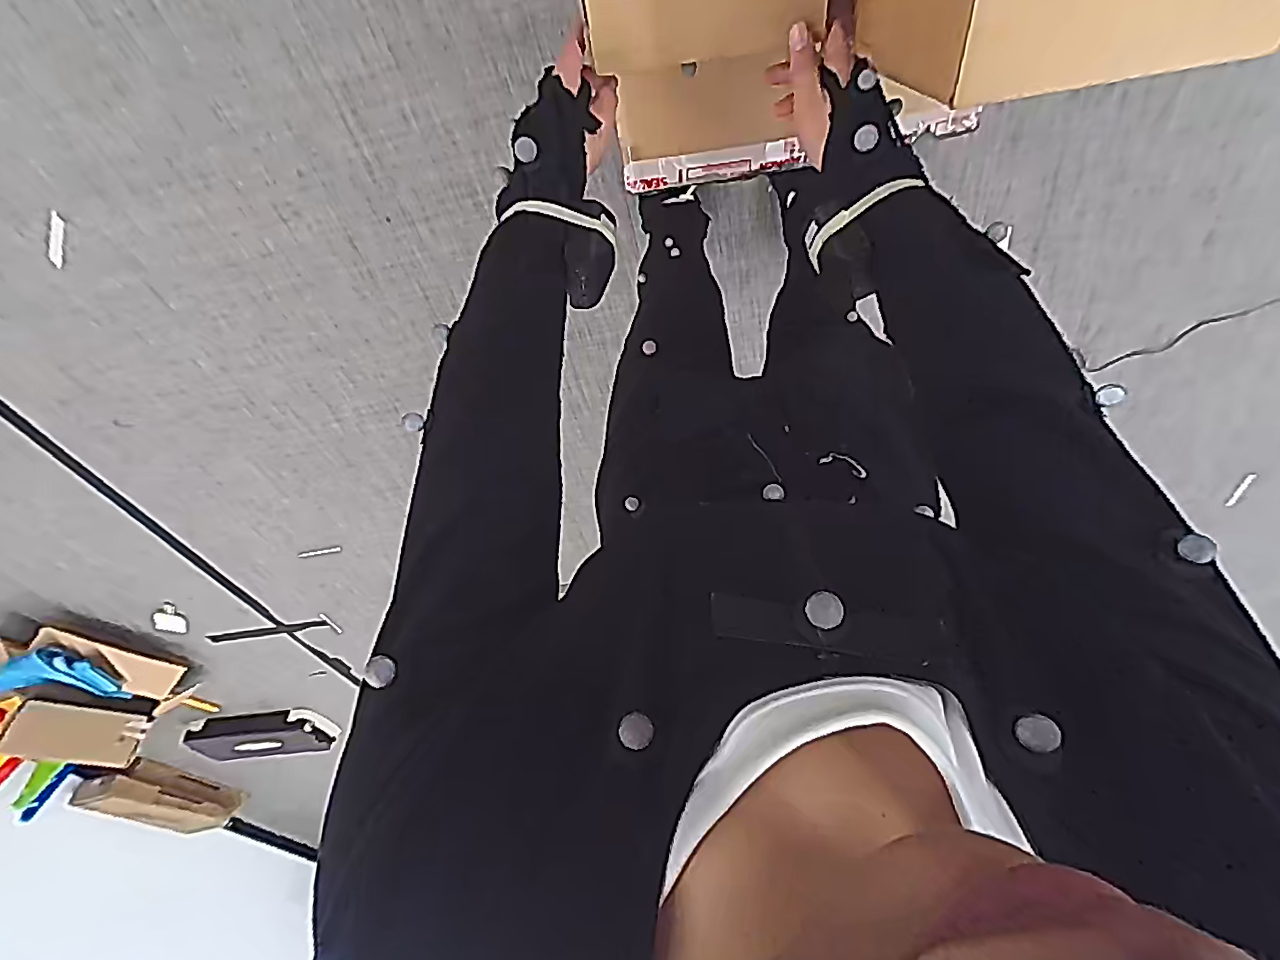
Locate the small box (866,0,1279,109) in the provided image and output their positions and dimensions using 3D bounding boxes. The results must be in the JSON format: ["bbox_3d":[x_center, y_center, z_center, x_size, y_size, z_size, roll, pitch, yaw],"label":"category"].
[{"bbox_3d":[0.235,-0.329,0.286,0.168,0.176,0.179,-8,134,5],"label":"small box"}]
